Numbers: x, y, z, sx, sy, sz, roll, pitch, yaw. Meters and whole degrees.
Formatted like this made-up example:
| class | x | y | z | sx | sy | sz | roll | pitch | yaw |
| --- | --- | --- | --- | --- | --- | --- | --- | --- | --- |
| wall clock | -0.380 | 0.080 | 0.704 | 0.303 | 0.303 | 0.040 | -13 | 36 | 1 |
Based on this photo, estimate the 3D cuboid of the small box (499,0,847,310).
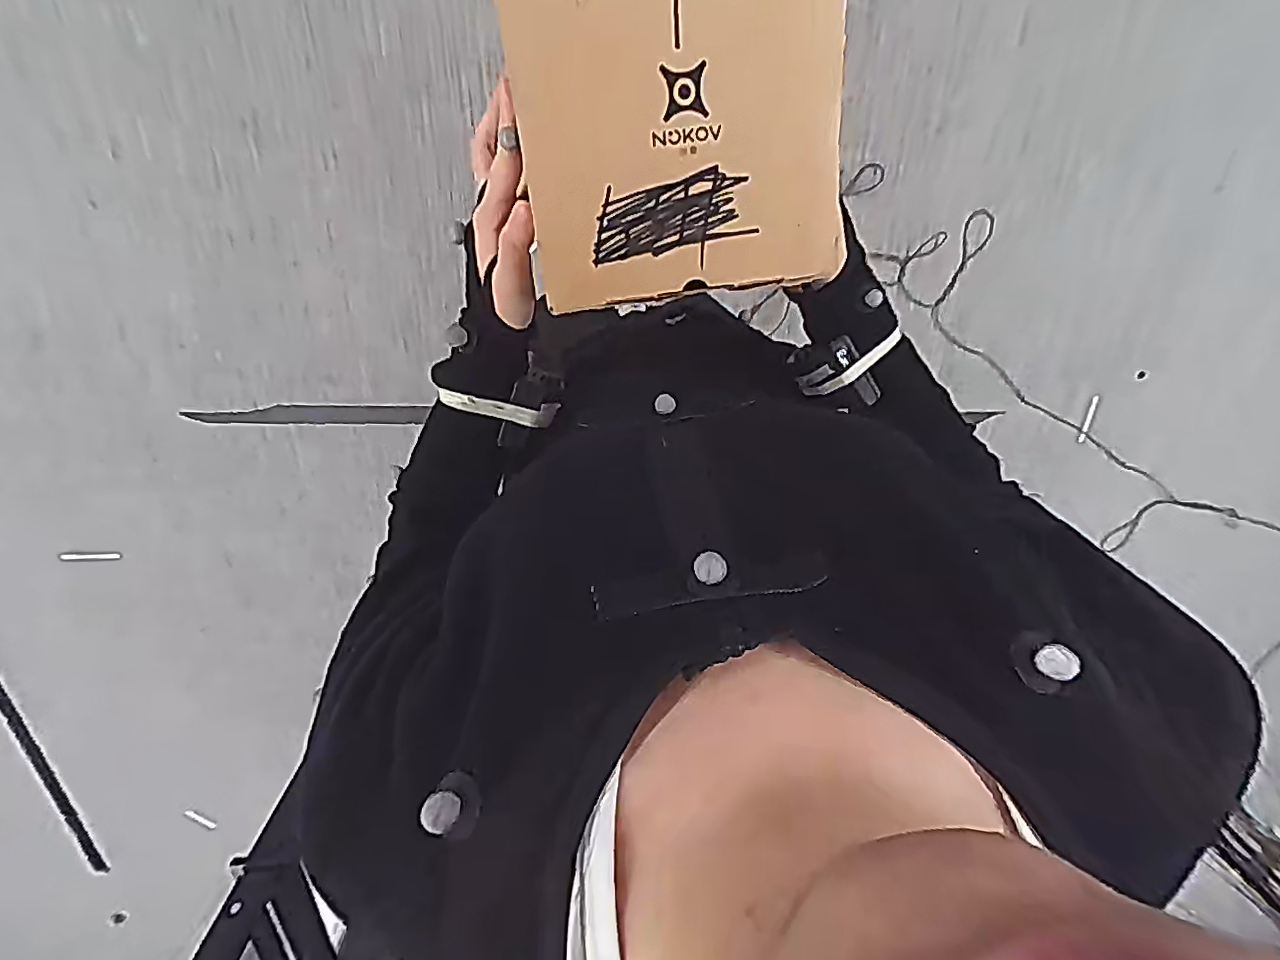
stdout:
| class | x | y | z | sx | sy | sz | roll | pitch | yaw |
| --- | --- | --- | --- | --- | --- | --- | --- | --- | --- |
| small box | 0.013 | -0.216 | 0.342 | 0.168 | 0.176 | 0.179 | -9 | 114 | -4 |
